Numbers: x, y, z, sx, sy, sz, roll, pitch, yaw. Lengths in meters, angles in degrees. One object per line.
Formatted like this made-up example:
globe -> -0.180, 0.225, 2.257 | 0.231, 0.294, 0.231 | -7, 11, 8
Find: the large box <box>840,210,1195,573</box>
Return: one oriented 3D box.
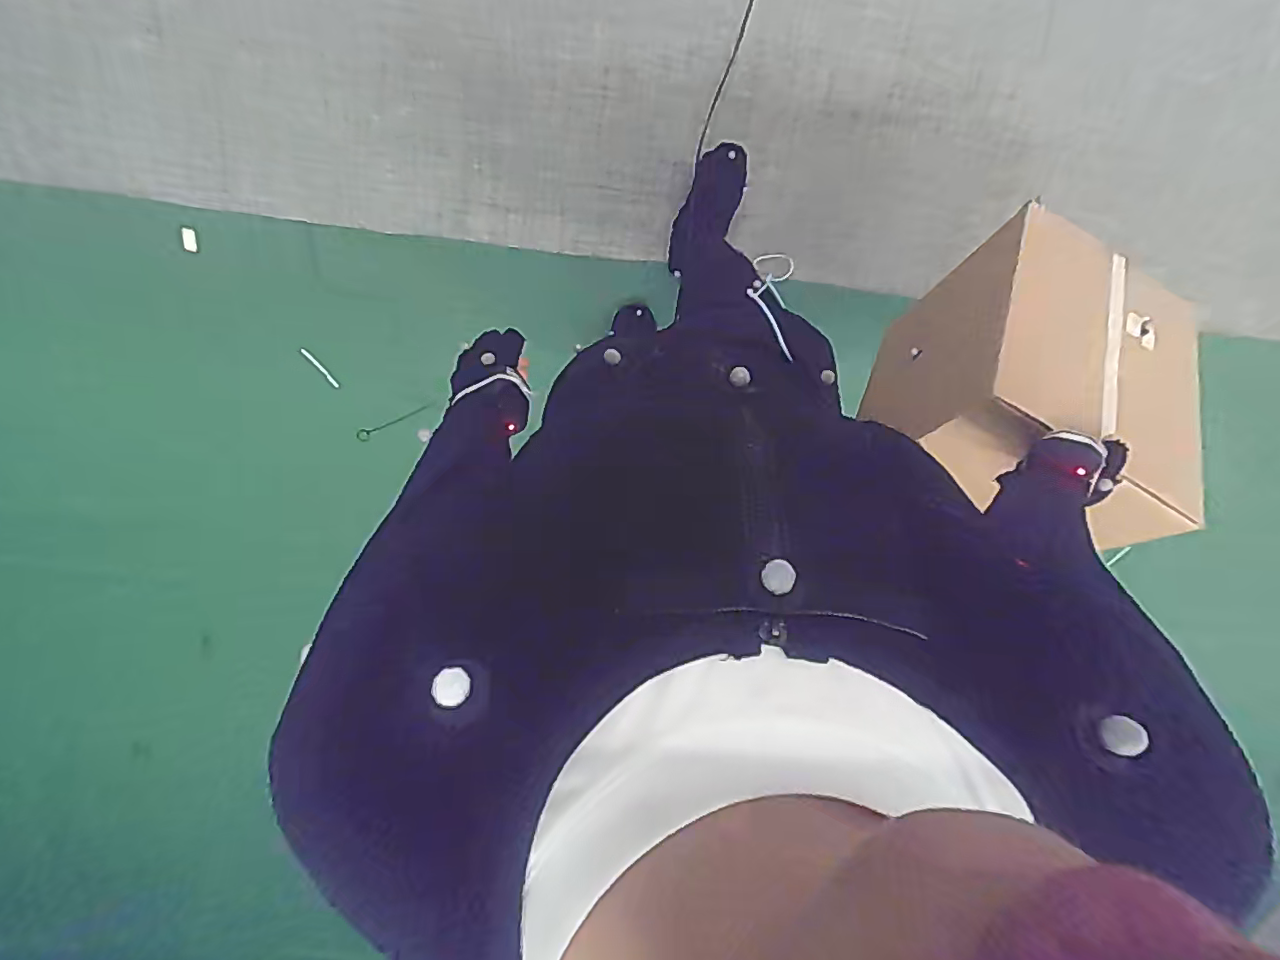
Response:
large box -> 0.576, -0.120, 0.862 | 0.320, 0.408, 0.320 | 30, 153, -5
